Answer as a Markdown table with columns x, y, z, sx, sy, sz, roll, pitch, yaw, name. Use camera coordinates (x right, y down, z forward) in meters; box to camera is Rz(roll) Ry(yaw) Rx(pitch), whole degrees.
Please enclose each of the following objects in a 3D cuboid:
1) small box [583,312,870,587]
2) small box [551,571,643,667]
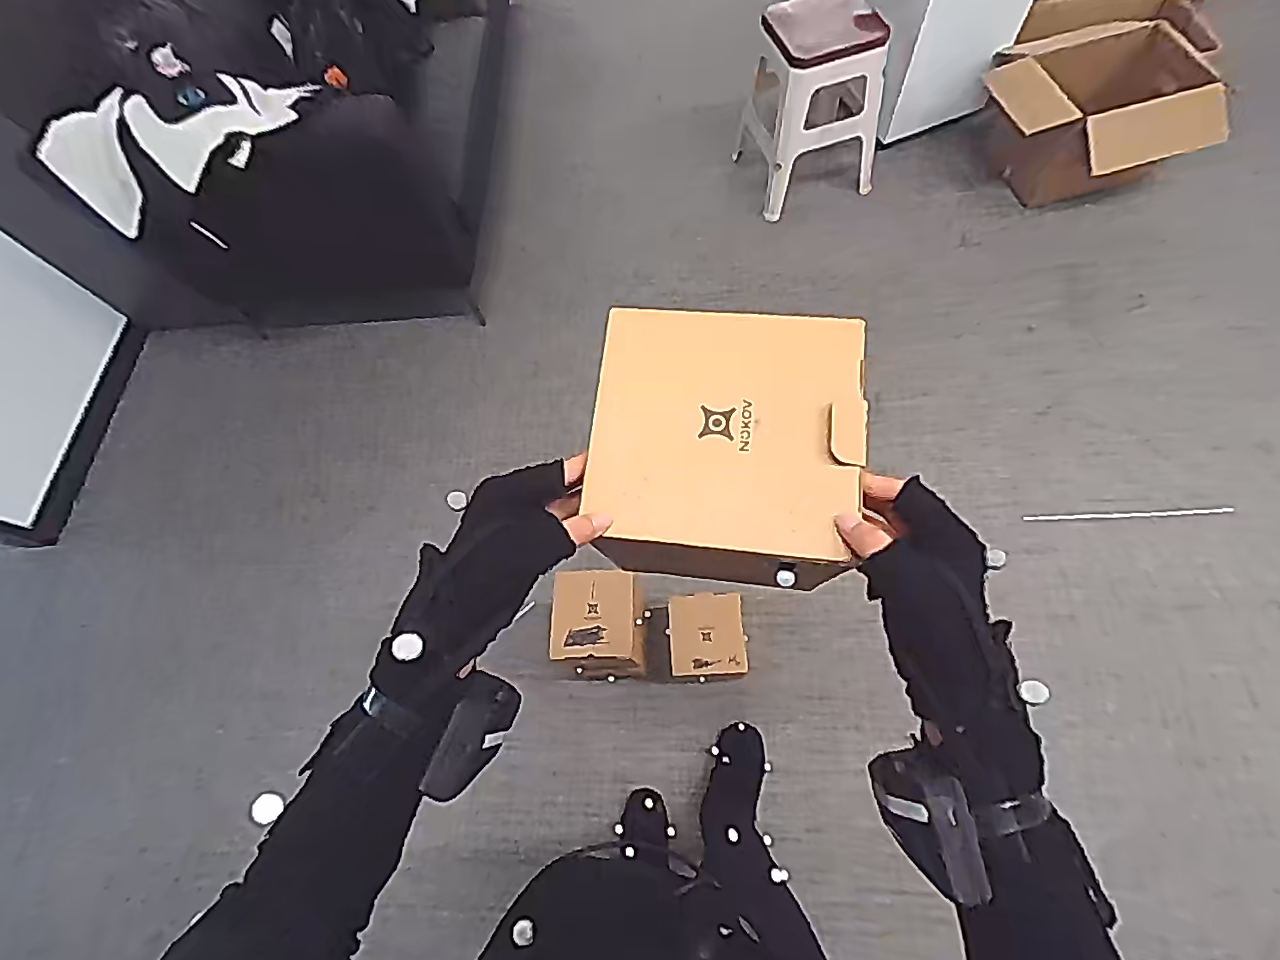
| x | y | z | sx | sy | sz | roll | pitch | yaw | name |
| --- | --- | --- | --- | --- | --- | --- | --- | --- | --- |
| 0.067 | -0.011 | 0.426 | 0.179 | 0.176 | 0.168 | 5 | 74 | 7 | small box |
| -0.083 | 0.299 | 1.142 | 0.168 | 0.176 | 0.179 | -3 | 65 | 6 | small box |
